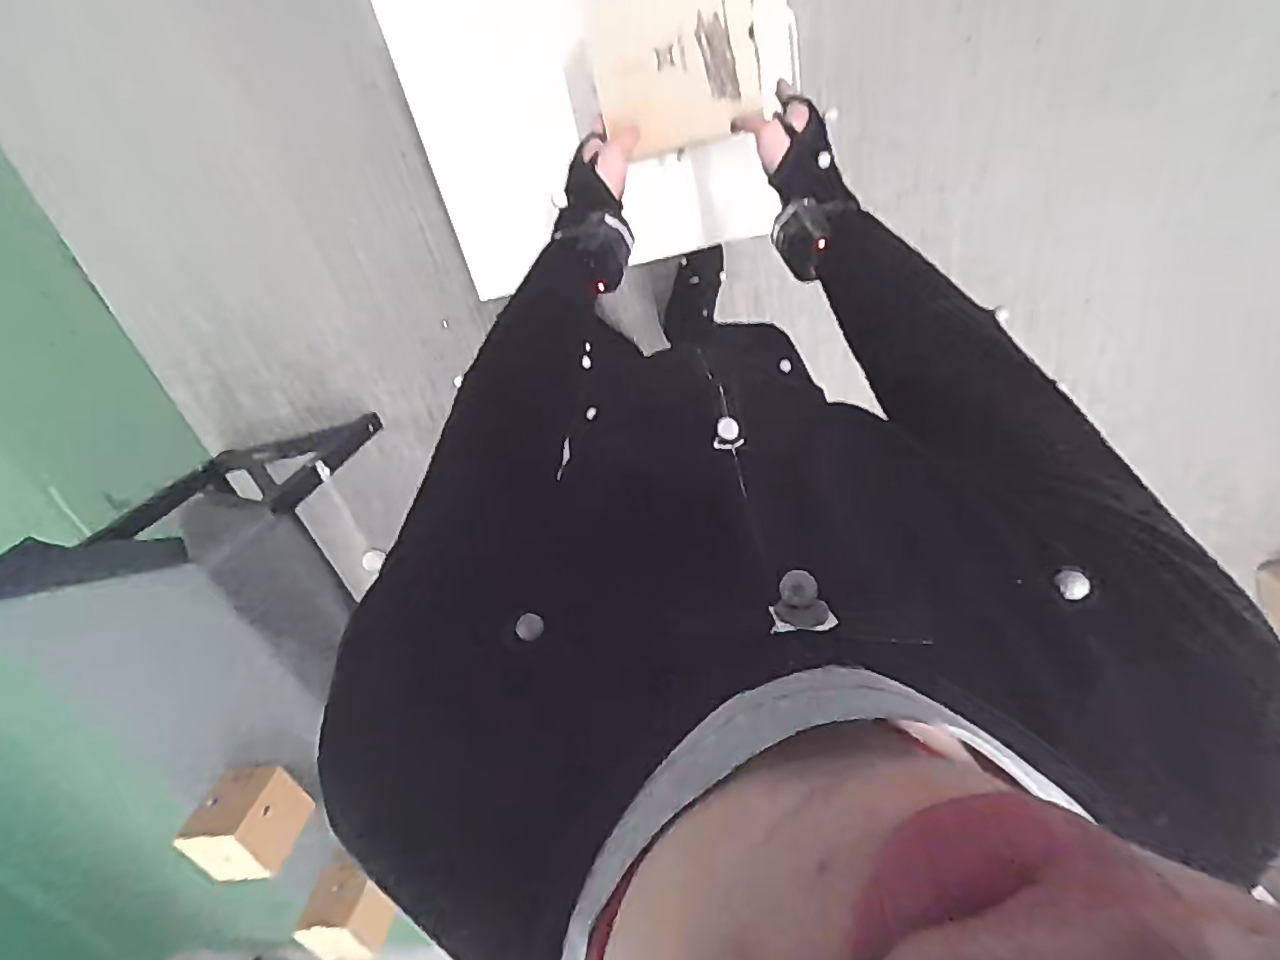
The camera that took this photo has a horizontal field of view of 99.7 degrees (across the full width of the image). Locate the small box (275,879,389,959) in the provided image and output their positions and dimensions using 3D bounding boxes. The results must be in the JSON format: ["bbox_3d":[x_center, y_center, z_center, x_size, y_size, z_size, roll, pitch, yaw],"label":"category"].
[{"bbox_3d":[-0.812,1.197,1.444,0.168,0.176,0.179,-11,117,9],"label":"small box"}]

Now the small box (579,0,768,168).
[{"bbox_3d":[0.040,-0.474,0.625,0.179,0.176,0.168,-9,118,8],"label":"small box"}]

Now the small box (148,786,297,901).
[{"bbox_3d":[-0.946,0.829,1.246,0.168,0.176,0.179,-10,120,9],"label":"small box"}]
